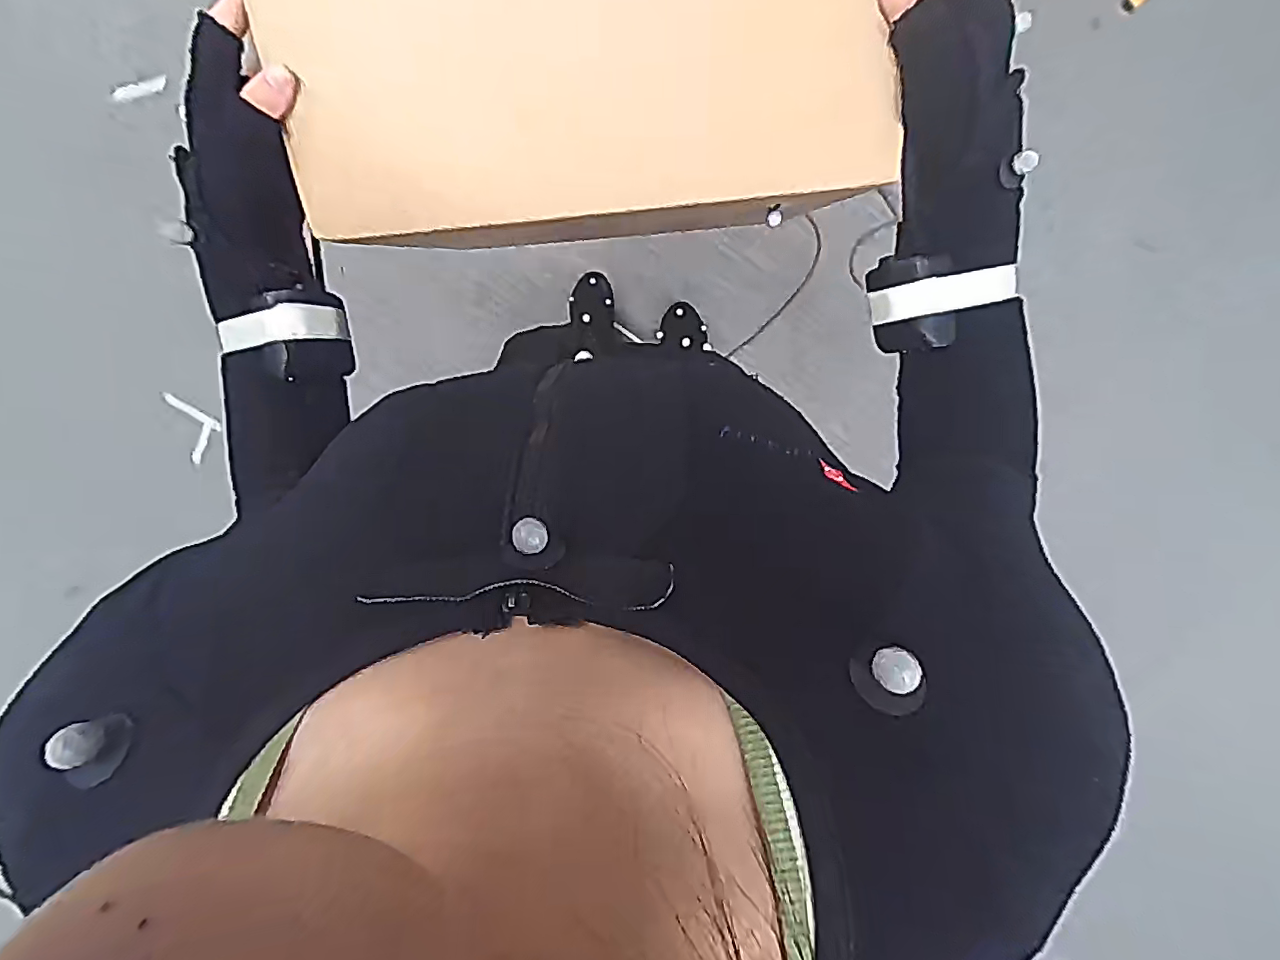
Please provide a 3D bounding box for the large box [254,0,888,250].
[{"bbox_3d":[-0.044,-0.386,0.465,0.408,0.320,0.320,-5,111,3],"label":"large box"}]
